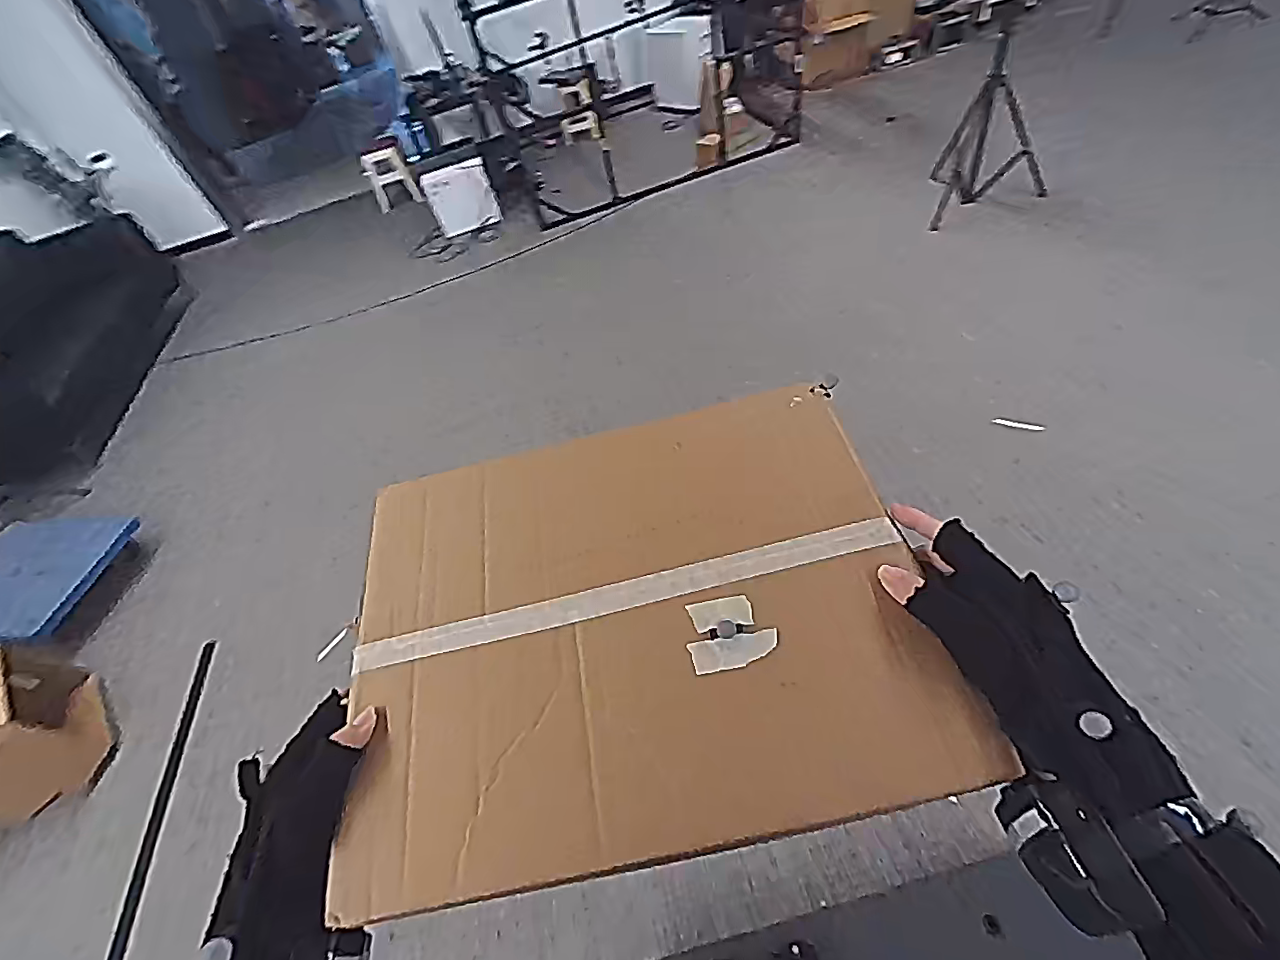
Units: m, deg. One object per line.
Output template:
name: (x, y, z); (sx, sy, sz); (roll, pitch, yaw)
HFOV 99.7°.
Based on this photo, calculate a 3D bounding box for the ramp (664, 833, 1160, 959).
ramp: (0.539, 1.049, 0.984); (0.991, 0.206, 0.509); (-19, 46, -1)

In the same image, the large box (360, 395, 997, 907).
large box: (0.017, 0.173, 0.529); (0.408, 0.320, 0.320); (-13, 55, 2)
